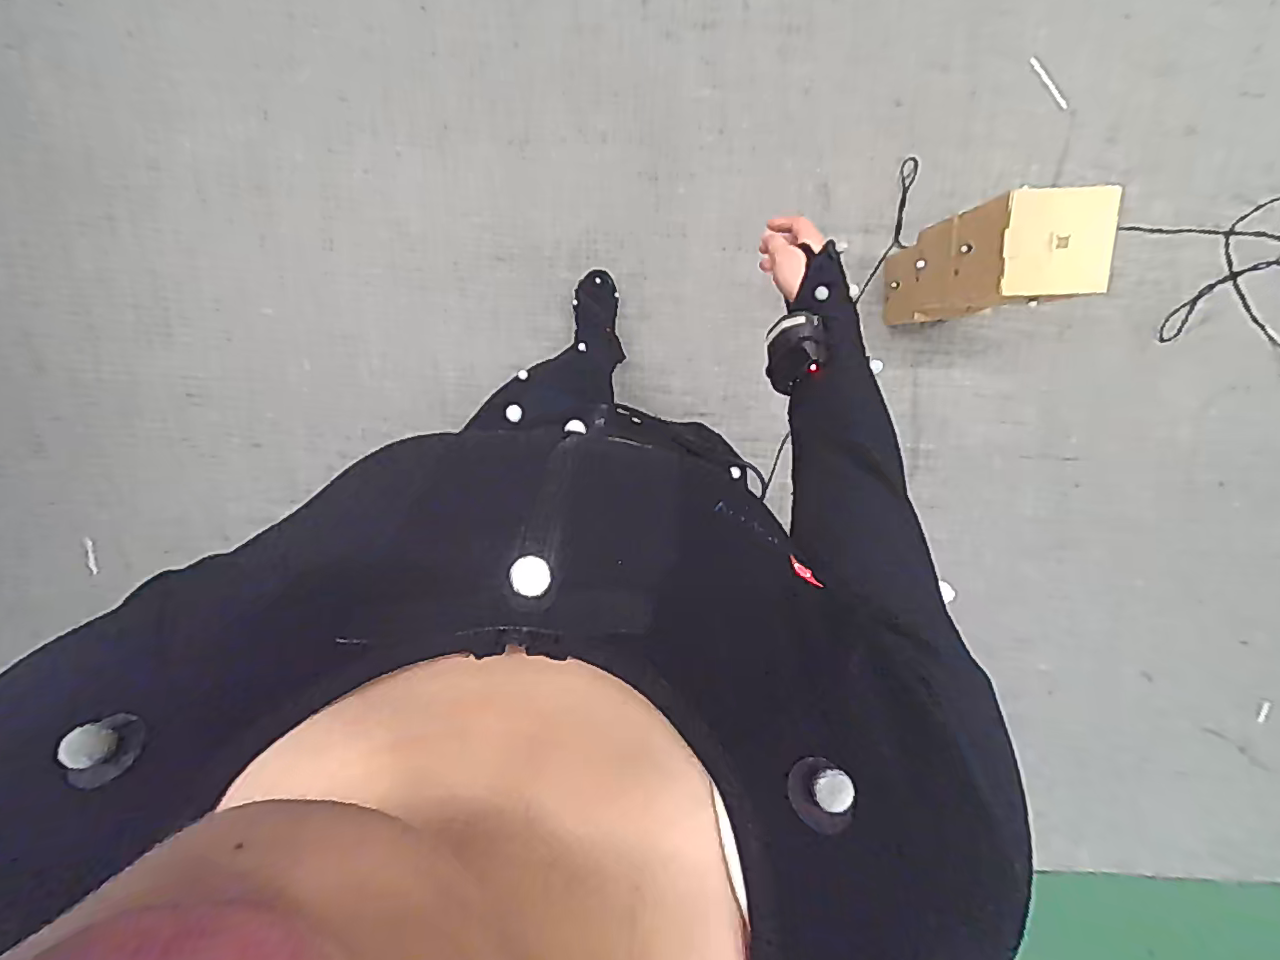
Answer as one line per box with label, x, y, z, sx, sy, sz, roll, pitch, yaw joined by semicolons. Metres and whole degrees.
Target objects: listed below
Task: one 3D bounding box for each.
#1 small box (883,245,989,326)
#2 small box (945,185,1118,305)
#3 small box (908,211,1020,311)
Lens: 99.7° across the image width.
small box;0.690;-0.459;1.274;0.179;0.176;0.168;-4;102;2
small box;0.675;-0.404;0.953;0.179;0.176;0.168;-2;102;3
small box;0.683;-0.443;1.111;0.179;0.176;0.168;0;101;2
